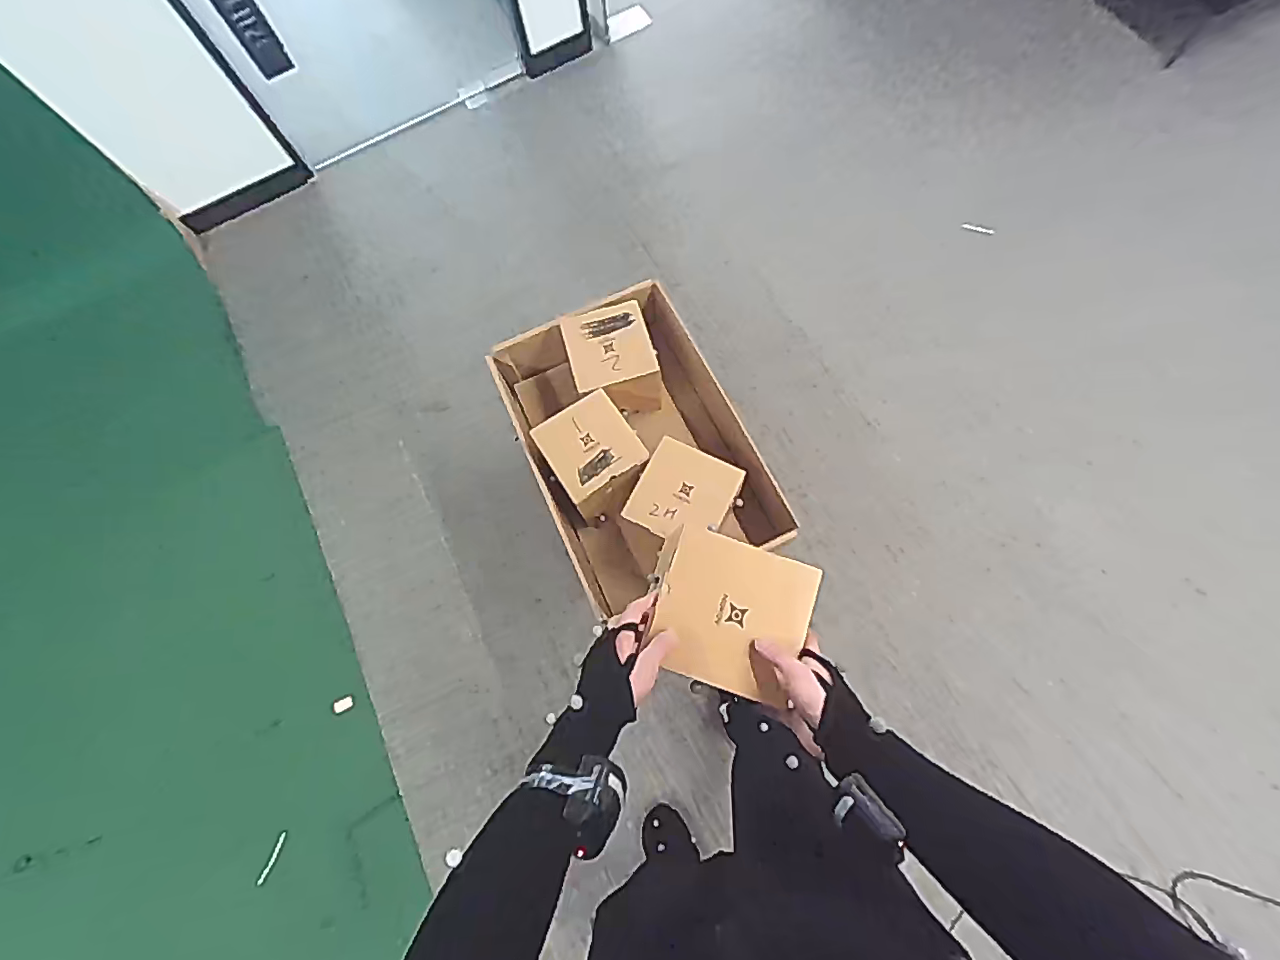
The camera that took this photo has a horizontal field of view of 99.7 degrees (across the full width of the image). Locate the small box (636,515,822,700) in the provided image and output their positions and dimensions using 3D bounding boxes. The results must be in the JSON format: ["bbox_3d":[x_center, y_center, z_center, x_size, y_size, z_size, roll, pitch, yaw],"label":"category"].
[{"bbox_3d":[0.102,0.156,0.691,0.179,0.176,0.168,18,79,2],"label":"small box"}]
